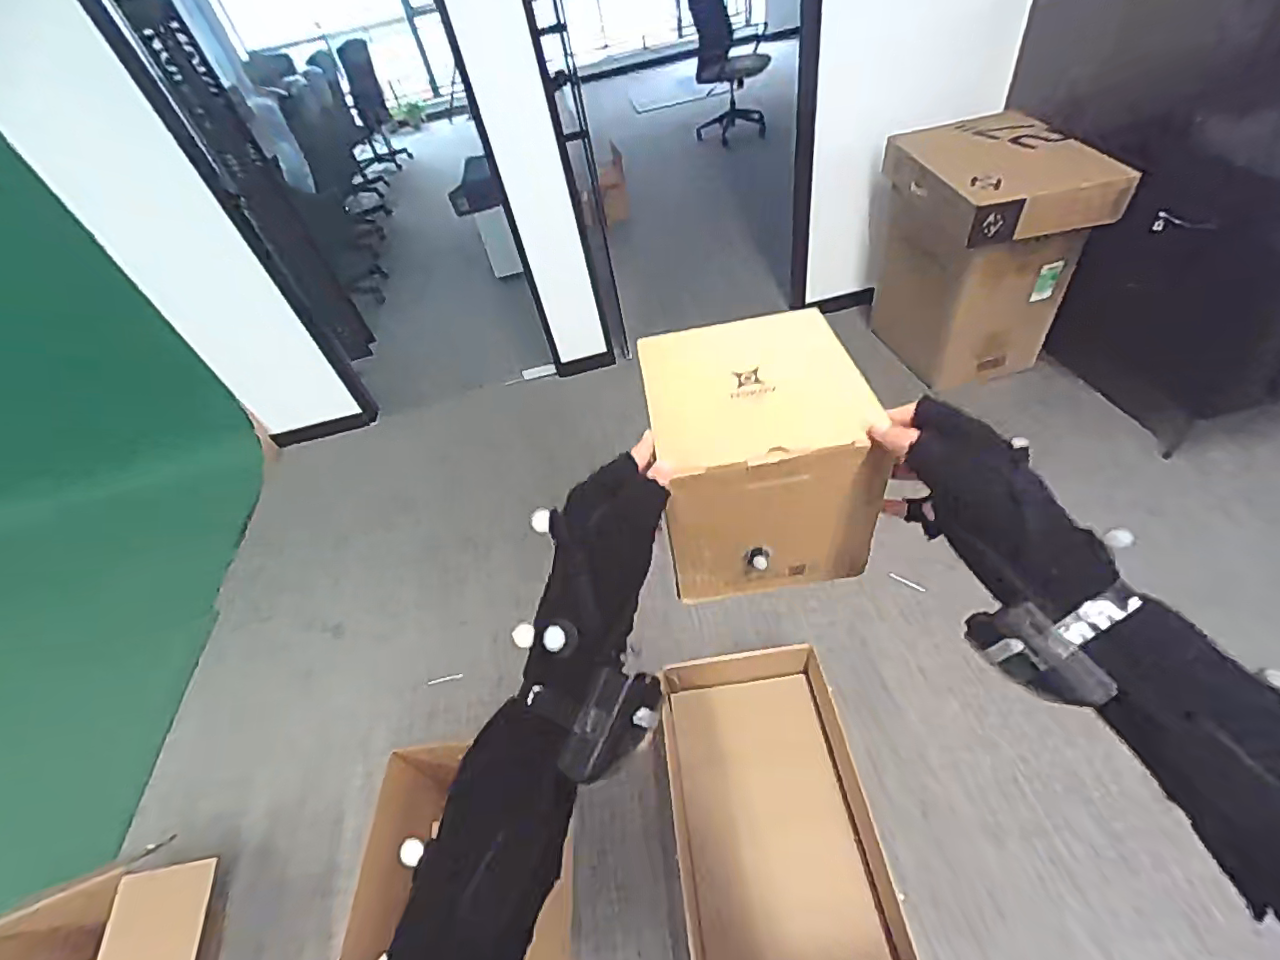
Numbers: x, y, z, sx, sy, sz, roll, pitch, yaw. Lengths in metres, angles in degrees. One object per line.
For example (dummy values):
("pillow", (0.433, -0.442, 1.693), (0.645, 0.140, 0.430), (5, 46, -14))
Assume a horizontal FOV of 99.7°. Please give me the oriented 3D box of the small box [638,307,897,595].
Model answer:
("small box", (0.095, -0.024, 0.478), (0.168, 0.176, 0.179), (-10, 46, 2))
